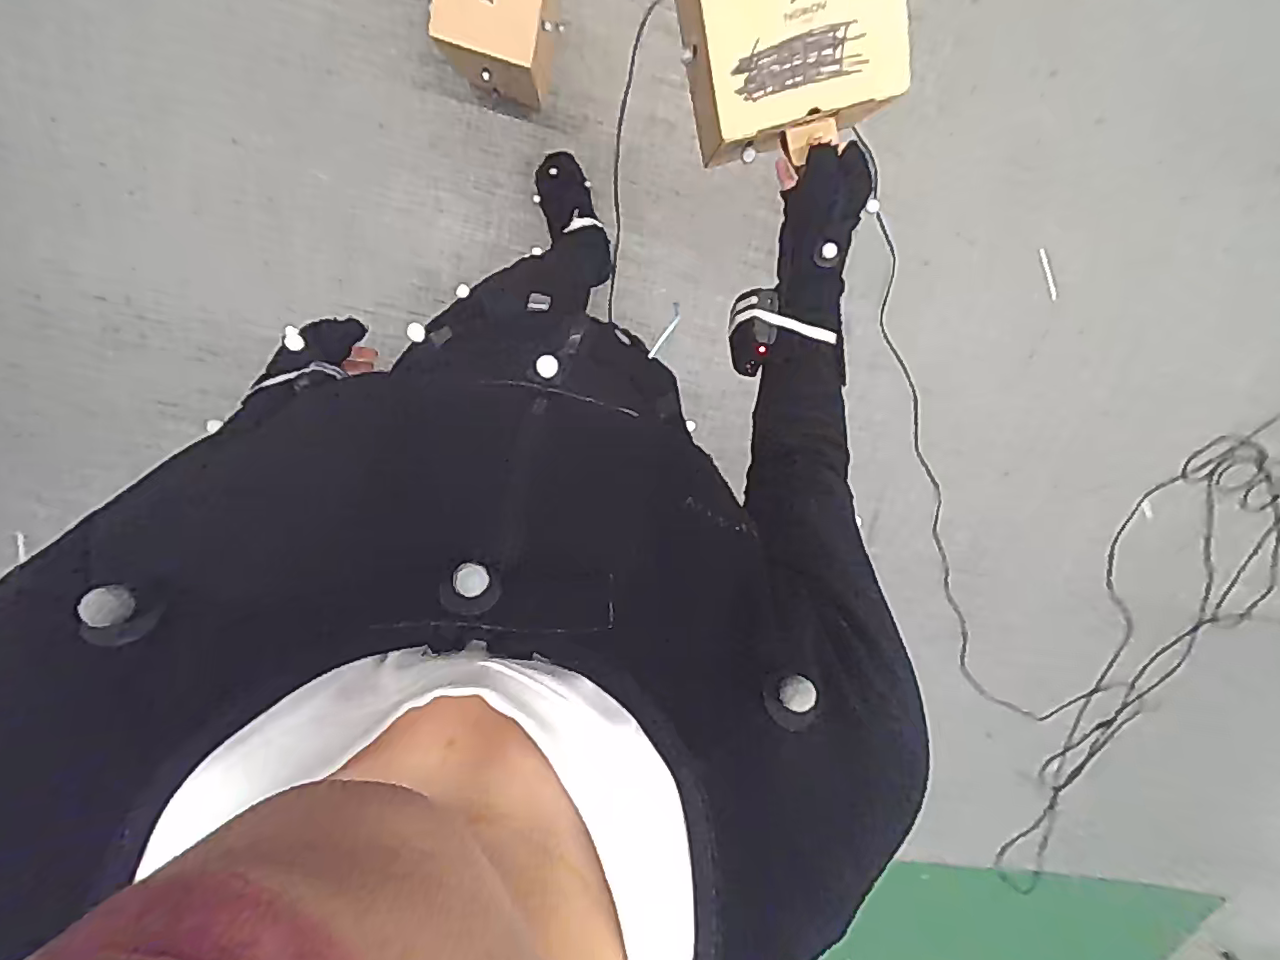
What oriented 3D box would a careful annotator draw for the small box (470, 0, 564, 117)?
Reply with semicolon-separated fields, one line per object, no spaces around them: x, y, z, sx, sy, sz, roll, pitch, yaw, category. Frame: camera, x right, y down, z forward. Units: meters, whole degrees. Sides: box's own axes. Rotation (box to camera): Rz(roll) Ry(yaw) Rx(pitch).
-0.252;-0.865;1.074;0.168;0.176;0.179;16;109;-11;small box

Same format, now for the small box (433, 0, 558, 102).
-0.239;-0.788;0.928;0.168;0.176;0.179;13;109;-10;small box
